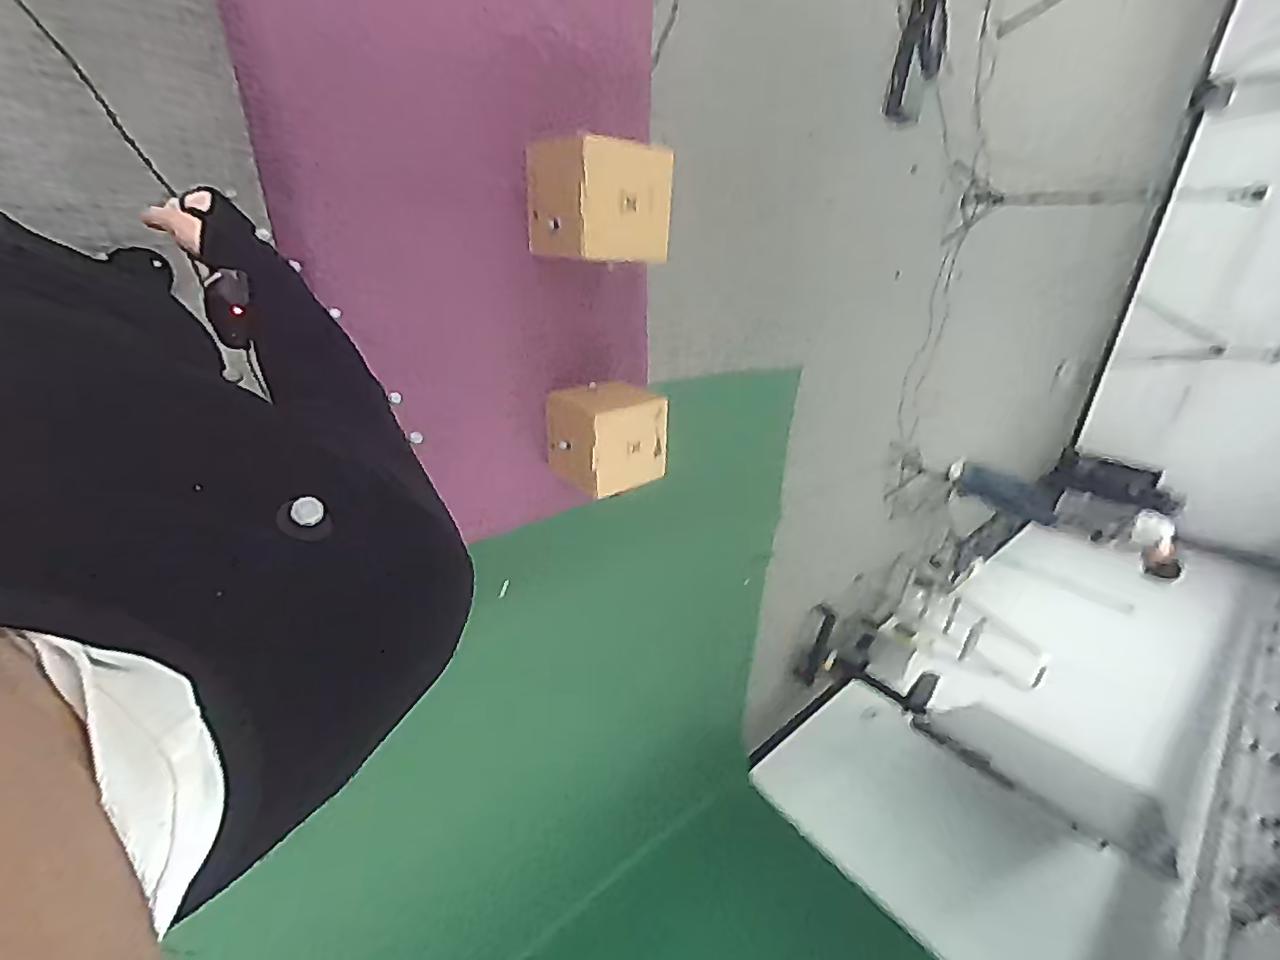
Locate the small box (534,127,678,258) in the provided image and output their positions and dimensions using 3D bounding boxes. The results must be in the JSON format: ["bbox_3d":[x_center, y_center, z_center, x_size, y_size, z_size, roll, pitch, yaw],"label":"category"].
[{"bbox_3d":[-0.063,-0.461,0.888,0.179,0.176,0.168,-15,121,-37],"label":"small box"}]

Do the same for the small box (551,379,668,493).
[{"bbox_3d":[-0.065,-0.095,1.068,0.179,0.176,0.168,-17,121,-35],"label":"small box"}]
